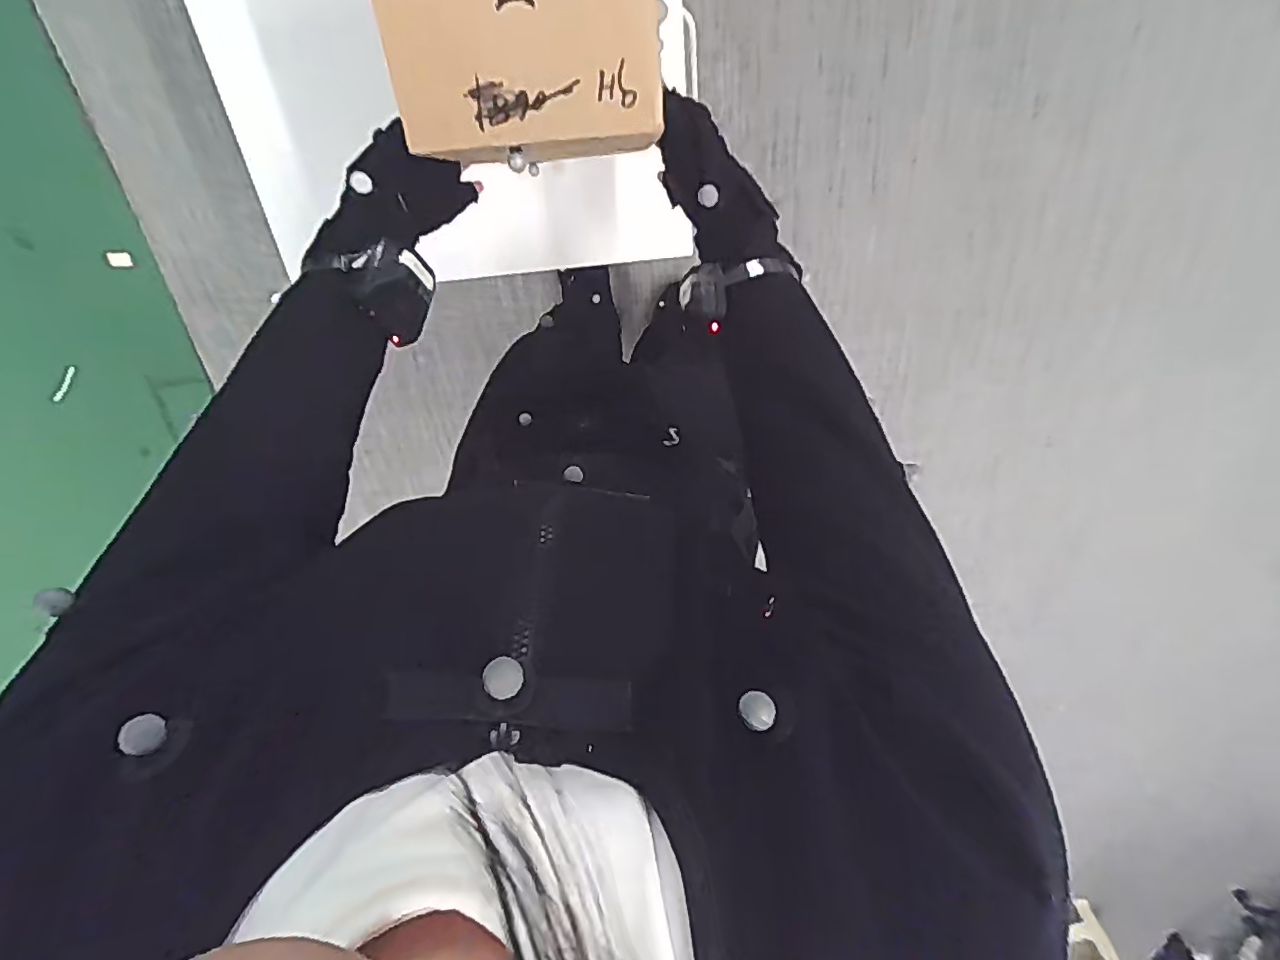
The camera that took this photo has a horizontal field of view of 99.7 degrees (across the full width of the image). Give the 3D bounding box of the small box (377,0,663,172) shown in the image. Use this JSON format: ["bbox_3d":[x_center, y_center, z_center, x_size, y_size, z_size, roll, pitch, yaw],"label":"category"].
[{"bbox_3d":[-0.075,-0.327,0.380,0.168,0.176,0.179,-5,118,1],"label":"small box"}]
